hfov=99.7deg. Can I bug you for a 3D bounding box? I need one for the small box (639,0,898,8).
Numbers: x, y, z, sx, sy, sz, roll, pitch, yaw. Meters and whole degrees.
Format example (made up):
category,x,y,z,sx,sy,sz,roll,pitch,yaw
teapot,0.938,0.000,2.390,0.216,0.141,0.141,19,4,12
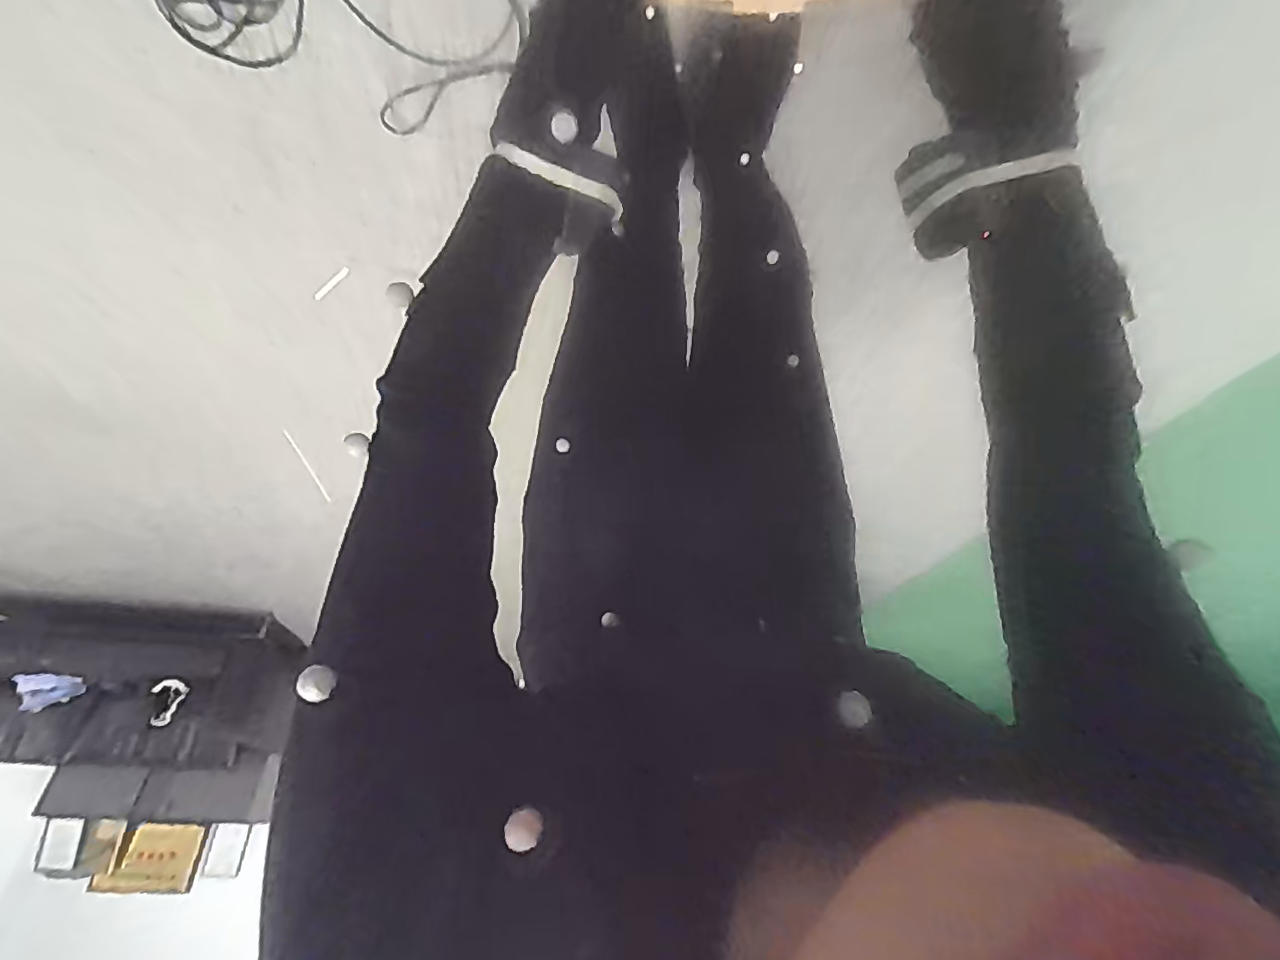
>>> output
category,x,y,z,sx,sy,sz,roll,pitch,yaw
small box,0.078,-0.408,0.315,0.168,0.176,0.179,1,143,2
